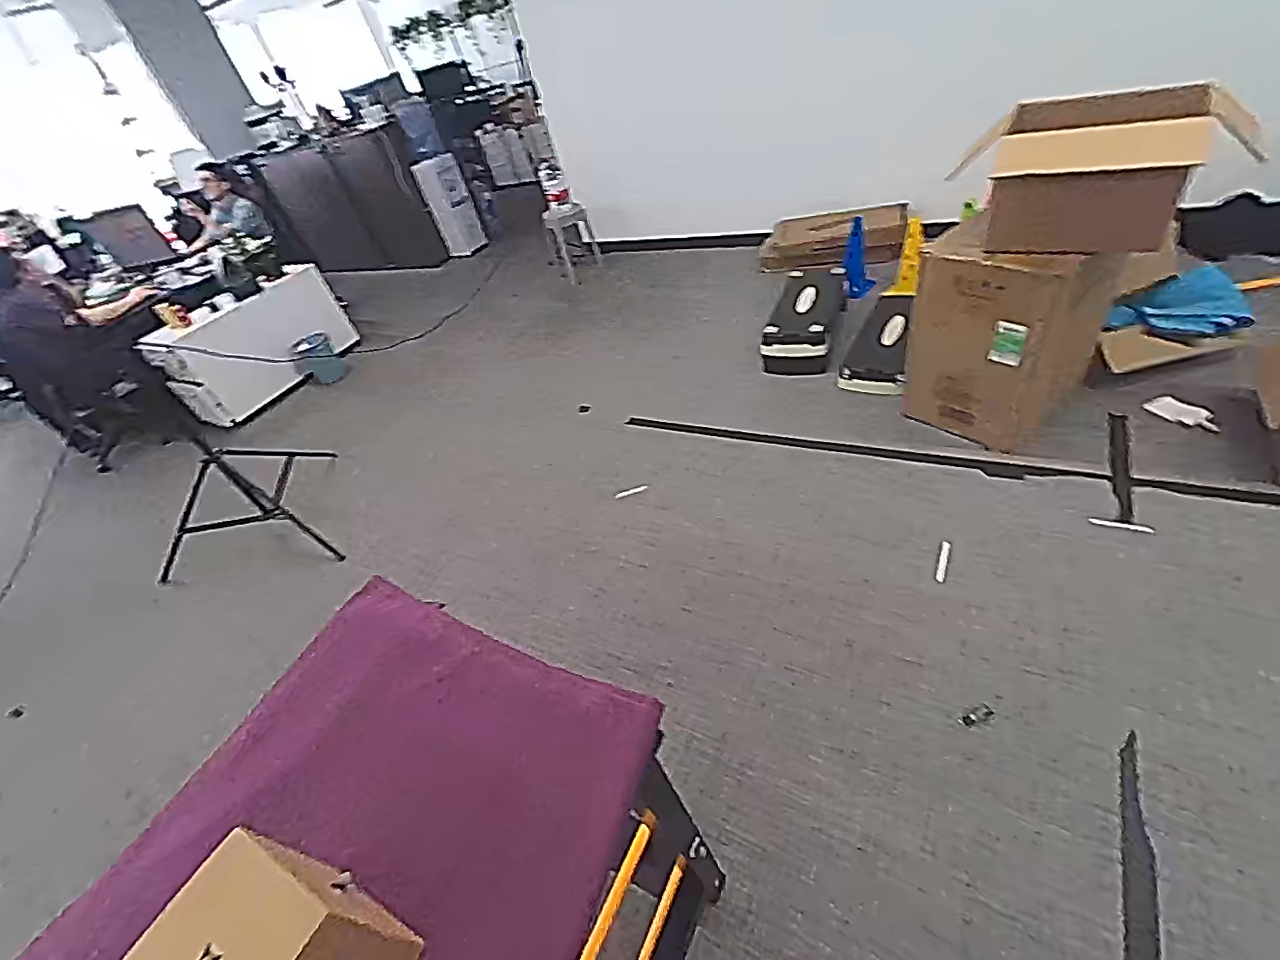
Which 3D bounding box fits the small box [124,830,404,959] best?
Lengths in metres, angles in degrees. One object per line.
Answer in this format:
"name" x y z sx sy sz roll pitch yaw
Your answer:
"small box" -0.356 0.480 0.508 0.168 0.176 0.179 8 47 30
